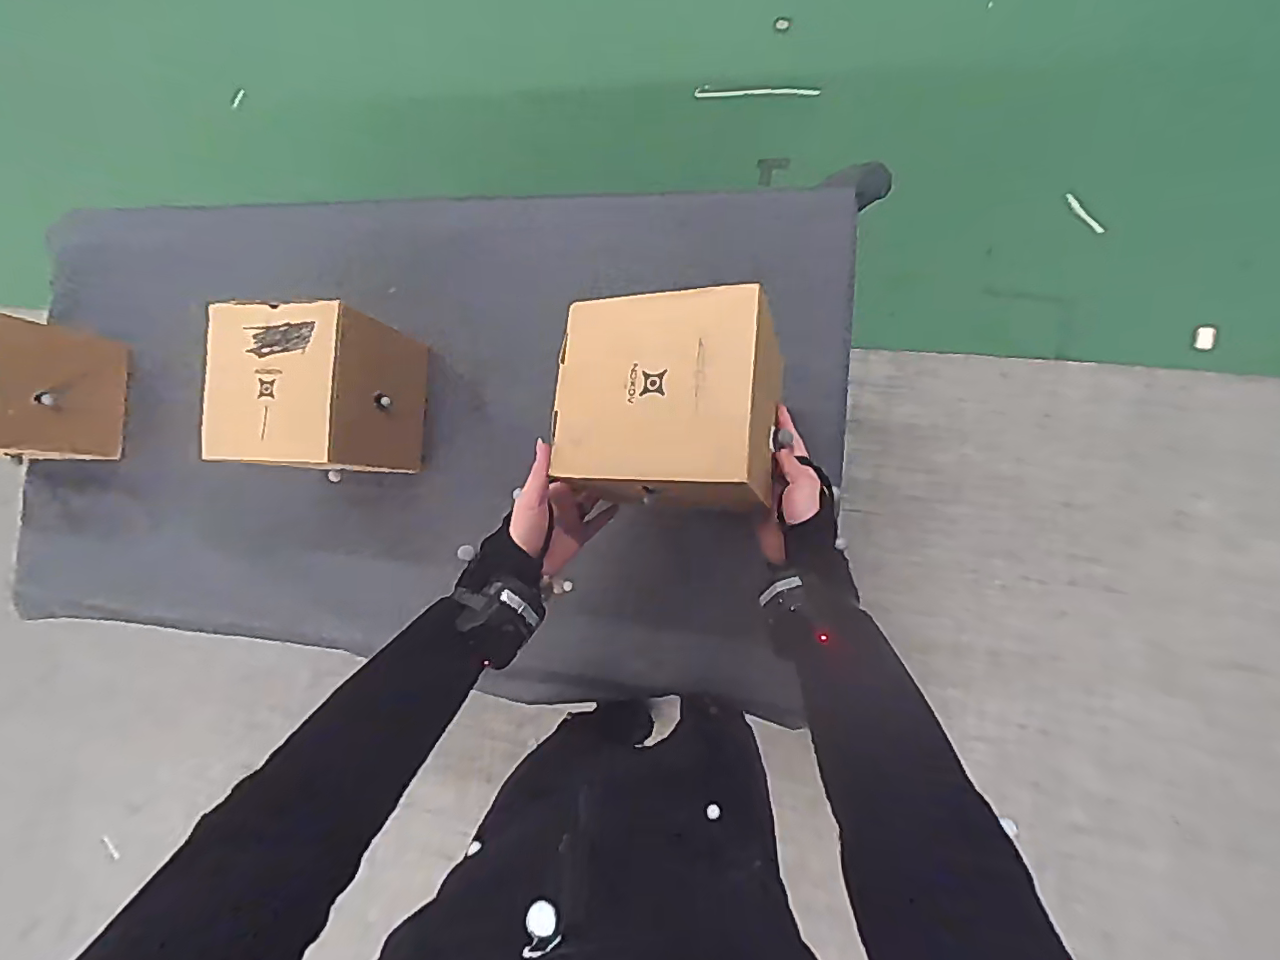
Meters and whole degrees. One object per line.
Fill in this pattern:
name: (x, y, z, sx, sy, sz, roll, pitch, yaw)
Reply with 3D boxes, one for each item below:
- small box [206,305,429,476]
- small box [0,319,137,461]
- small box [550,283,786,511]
small box: (-0.380, -0.100, 0.665, 0.168, 0.176, 0.179, 2, 88, 12)
small box: (-0.869, -0.118, 0.767, 0.168, 0.176, 0.179, 0, 88, 11)
small box: (0.038, -0.064, 0.522, 0.179, 0.176, 0.168, 1, 79, 21)
